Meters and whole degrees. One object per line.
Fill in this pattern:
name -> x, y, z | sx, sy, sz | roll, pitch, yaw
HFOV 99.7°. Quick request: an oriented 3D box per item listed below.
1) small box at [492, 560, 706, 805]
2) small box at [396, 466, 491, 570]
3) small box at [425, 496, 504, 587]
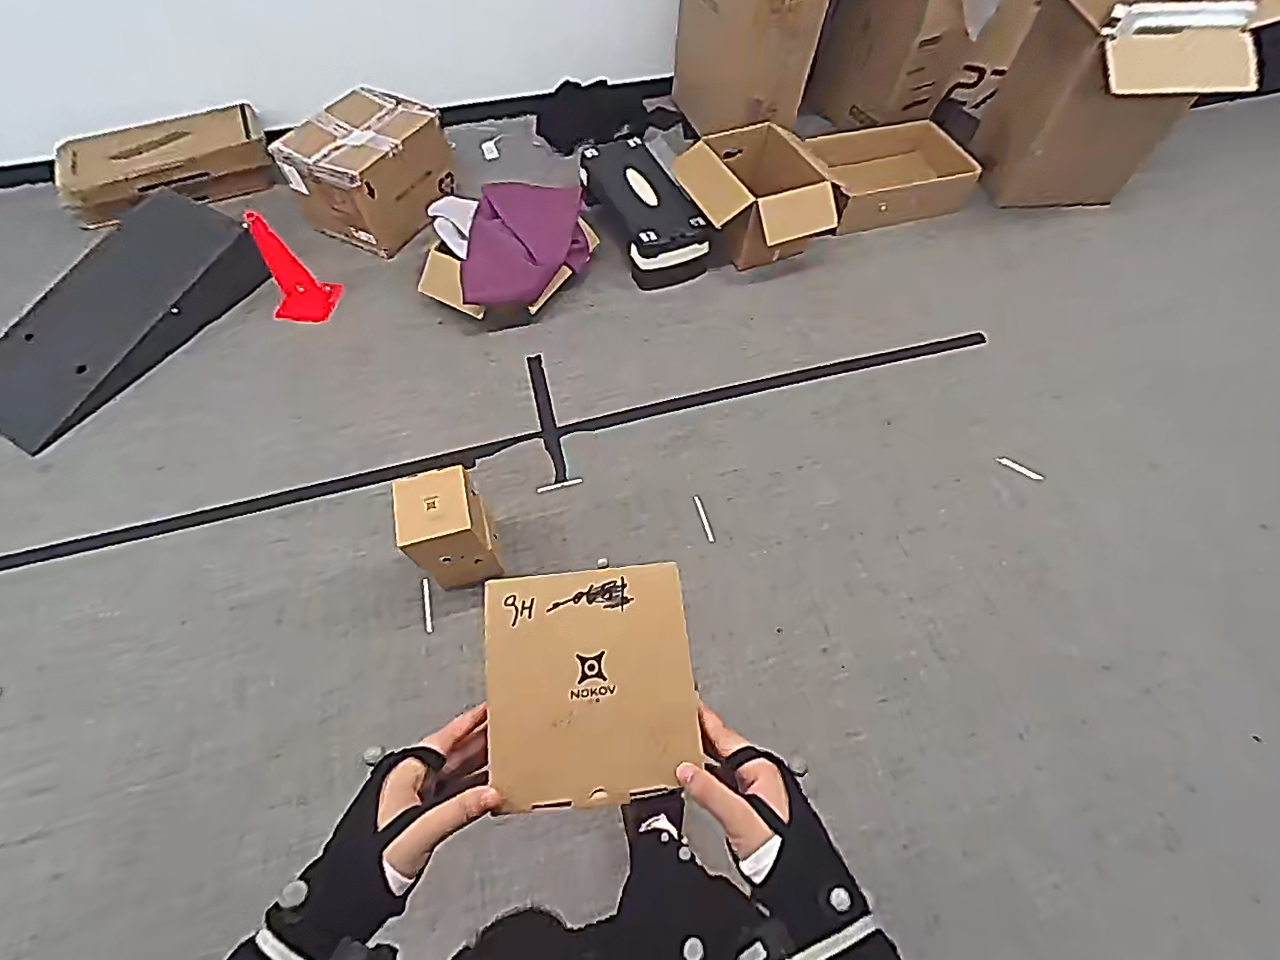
small box -> -0.040, 0.181, 0.516 | 0.168, 0.176, 0.179 | -5, 73, -6
small box -> -0.473, 0.095, 1.311 | 0.168, 0.176, 0.179 | -15, 63, -7
small box -> -0.473, 0.170, 1.456 | 0.179, 0.176, 0.168 | -15, 62, -8
